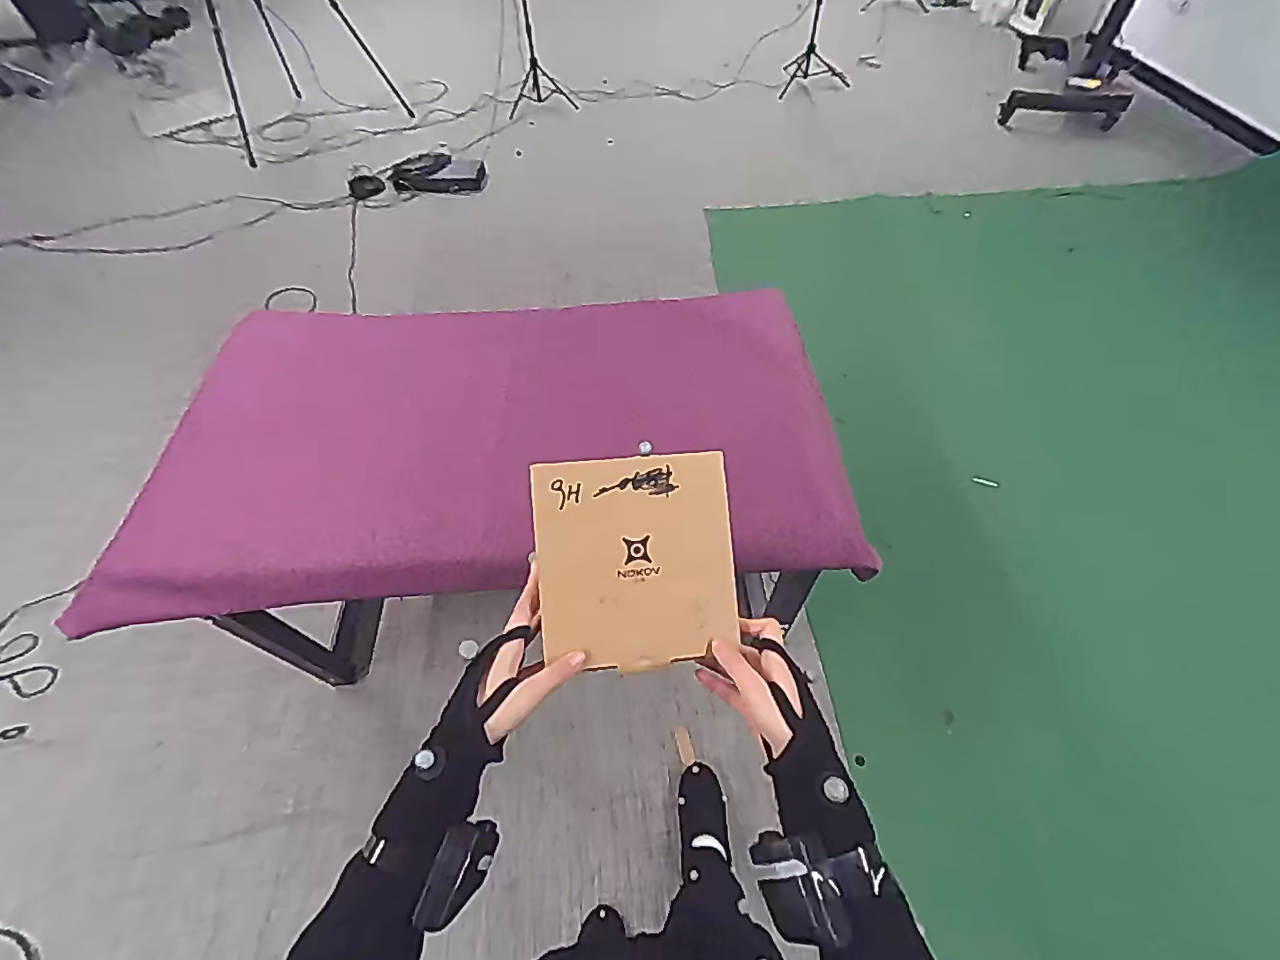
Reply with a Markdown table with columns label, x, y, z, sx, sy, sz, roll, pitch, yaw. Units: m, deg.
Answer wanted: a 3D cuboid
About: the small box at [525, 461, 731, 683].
| label | x | y | z | sx | sy | sz | roll | pitch | yaw |
| --- | --- | --- | --- | --- | --- | --- | --- | --- | --- |
| small box | -0.016 | 0.077 | 0.527 | 0.168 | 0.176 | 0.179 | -4 | 88 | -7 |
